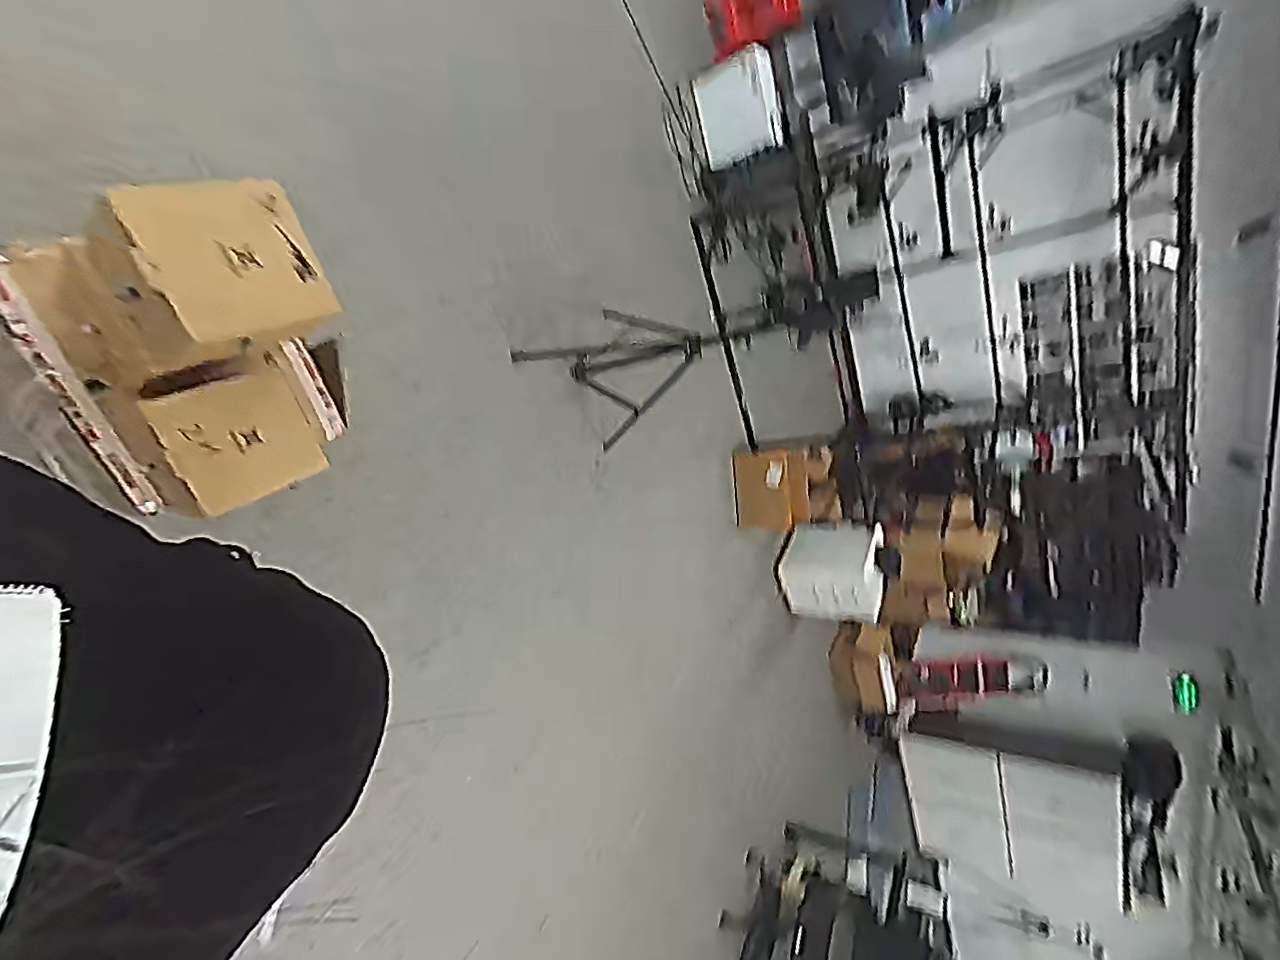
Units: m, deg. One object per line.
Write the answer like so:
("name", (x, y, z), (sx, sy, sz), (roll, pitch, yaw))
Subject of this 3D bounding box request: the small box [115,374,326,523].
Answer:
("small box", (-0.622, -0.050, 0.808), (0.179, 0.176, 0.168), (-37, 117, -46))

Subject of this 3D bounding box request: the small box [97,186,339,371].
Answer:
("small box", (-0.526, -0.246, 0.676), (0.179, 0.176, 0.168), (-37, 115, -45))

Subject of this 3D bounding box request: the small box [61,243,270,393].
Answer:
("small box", (-0.661, -0.236, 0.769), (0.179, 0.176, 0.168), (-39, 117, -44))
